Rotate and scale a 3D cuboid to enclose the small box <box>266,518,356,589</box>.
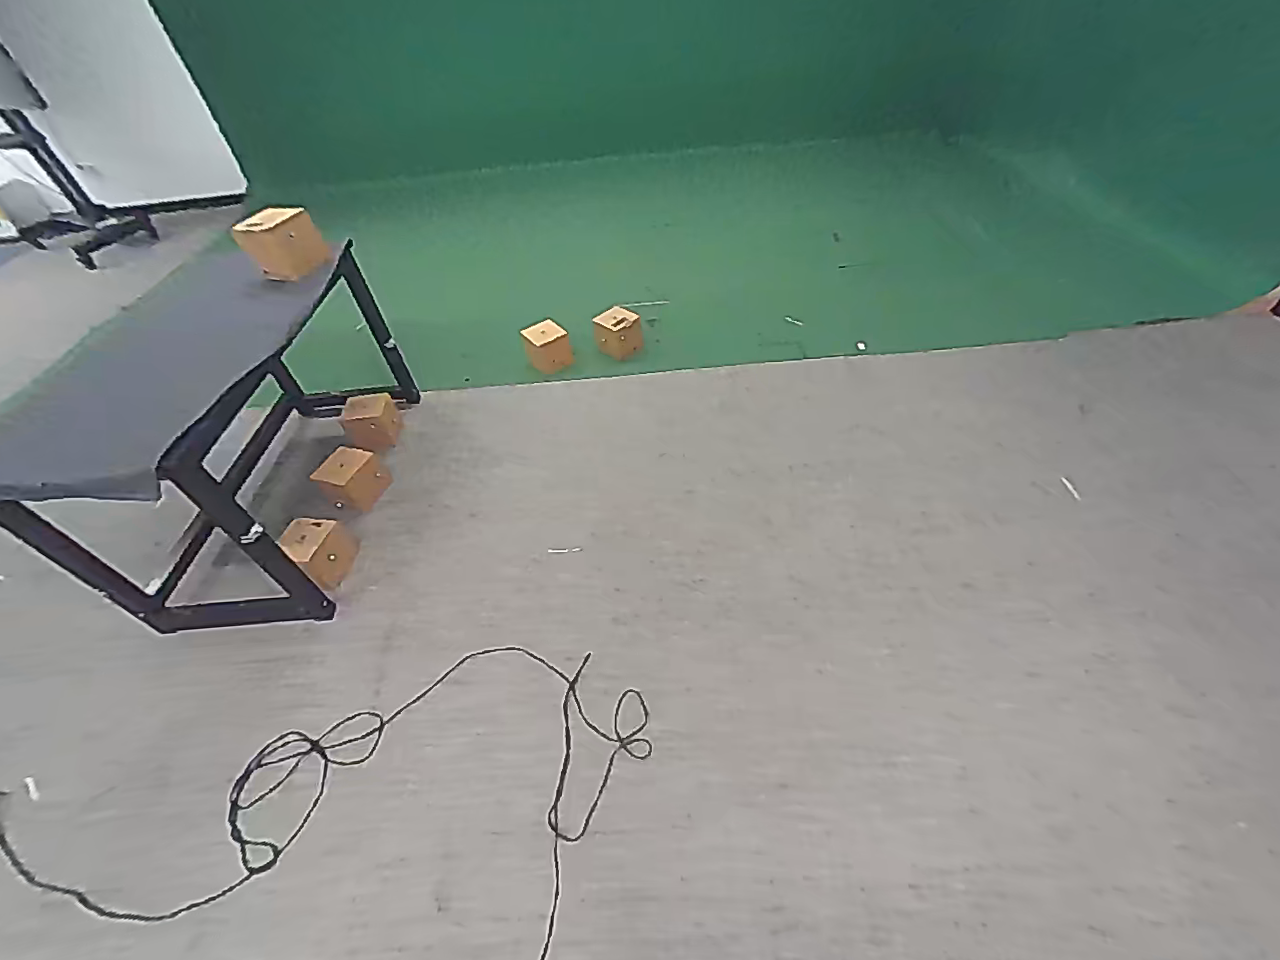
[{"bbox_3d":[-1.106,0.252,1.838,0.168,0.176,0.179,5,48,10],"label":"small box"}]

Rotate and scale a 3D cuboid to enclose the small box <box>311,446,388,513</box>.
[{"bbox_3d":[-1.103,0.000,2.076,0.168,0.176,0.179,10,50,16],"label":"small box"}]

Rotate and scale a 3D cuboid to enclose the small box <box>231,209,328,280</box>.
[{"bbox_3d":[-1.206,-0.794,1.825,0.168,0.176,0.179,9,50,18],"label":"small box"}]

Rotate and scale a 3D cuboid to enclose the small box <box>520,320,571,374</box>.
[{"bbox_3d":[-0.455,-0.642,2.611,0.168,0.176,0.179,-31,52,-22],"label":"small box"}]

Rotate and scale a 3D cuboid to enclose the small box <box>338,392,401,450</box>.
[{"bbox_3d":[-1.150,-0.251,2.315,0.179,0.176,0.168,-8,46,-1],"label":"small box"}]
